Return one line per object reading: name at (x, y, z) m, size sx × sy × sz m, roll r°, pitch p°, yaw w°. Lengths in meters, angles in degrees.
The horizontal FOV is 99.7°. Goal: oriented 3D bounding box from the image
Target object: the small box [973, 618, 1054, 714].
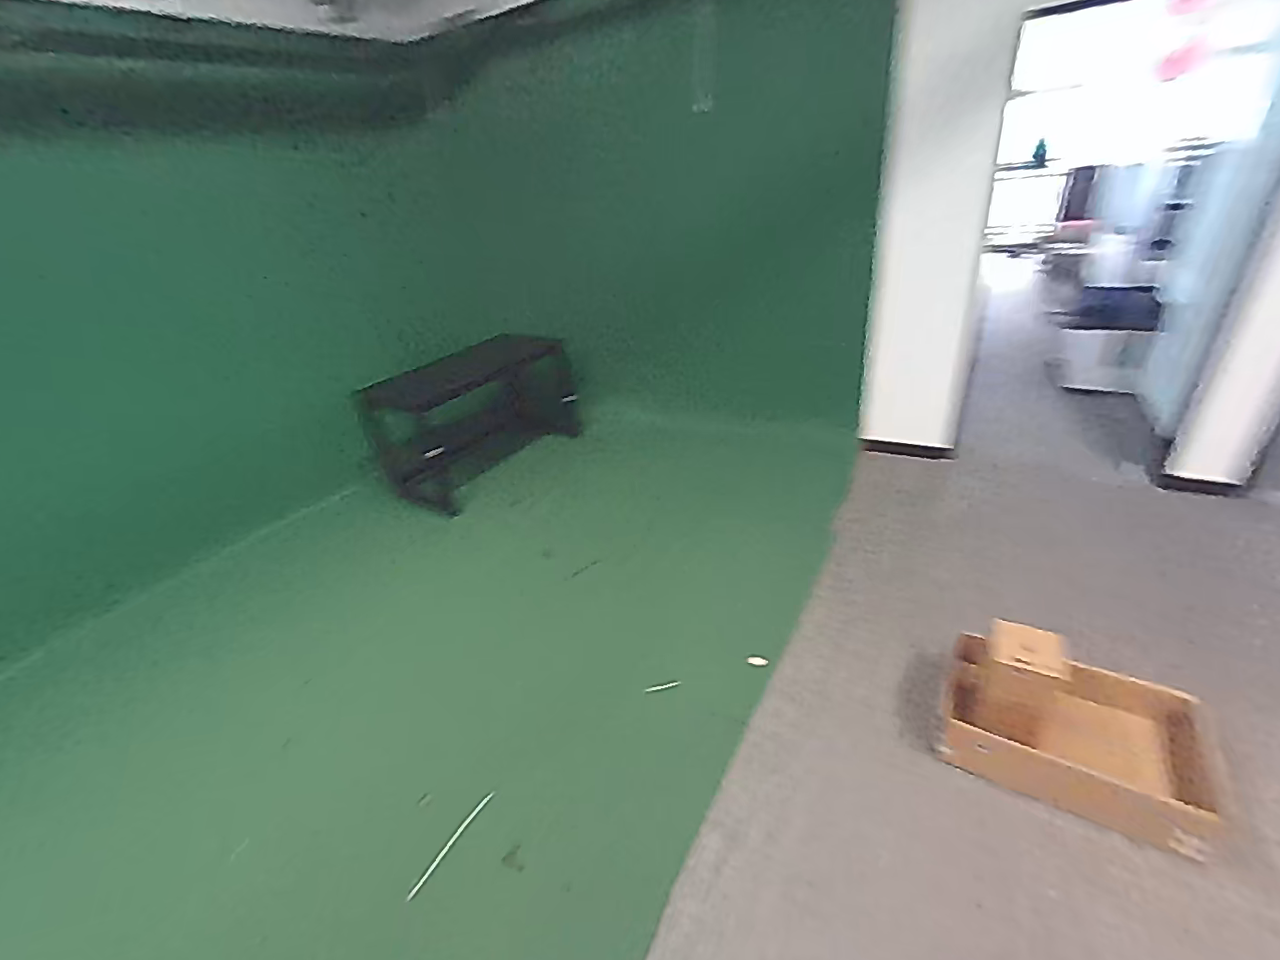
small box at (1.094, 0.546, 1.593) m, size 0.168 × 0.176 × 0.179 m, roll 10°, pitch 34°, yaw 28°
